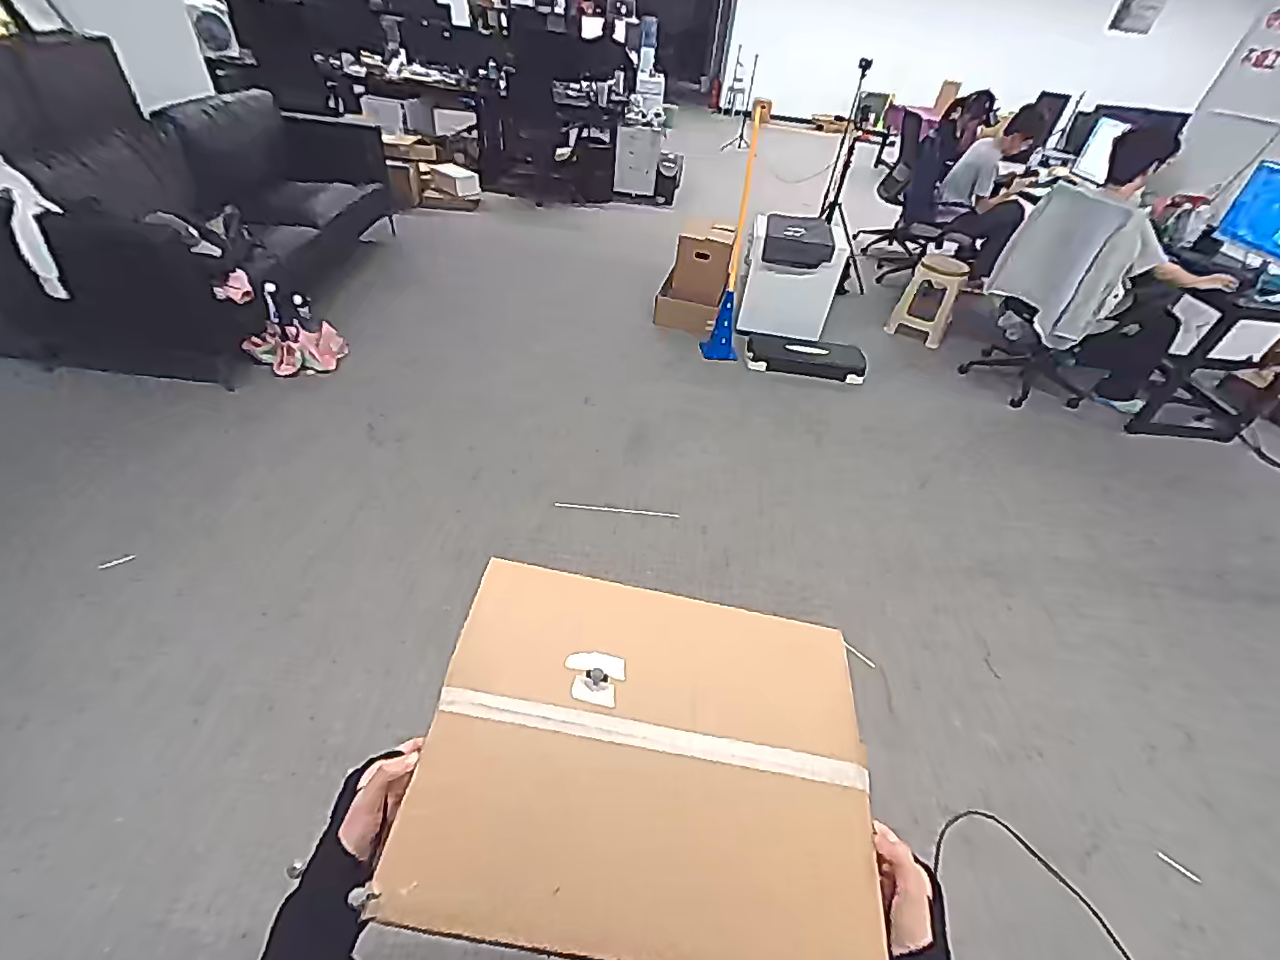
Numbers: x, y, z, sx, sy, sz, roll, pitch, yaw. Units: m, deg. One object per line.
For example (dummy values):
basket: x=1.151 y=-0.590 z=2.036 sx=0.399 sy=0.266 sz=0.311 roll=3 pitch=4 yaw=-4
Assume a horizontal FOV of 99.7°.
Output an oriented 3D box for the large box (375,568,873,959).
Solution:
large box: x=-0.013 y=0.342 z=0.626 sx=0.408 sy=0.320 sz=0.320 roll=12 pitch=48 yaw=-2
